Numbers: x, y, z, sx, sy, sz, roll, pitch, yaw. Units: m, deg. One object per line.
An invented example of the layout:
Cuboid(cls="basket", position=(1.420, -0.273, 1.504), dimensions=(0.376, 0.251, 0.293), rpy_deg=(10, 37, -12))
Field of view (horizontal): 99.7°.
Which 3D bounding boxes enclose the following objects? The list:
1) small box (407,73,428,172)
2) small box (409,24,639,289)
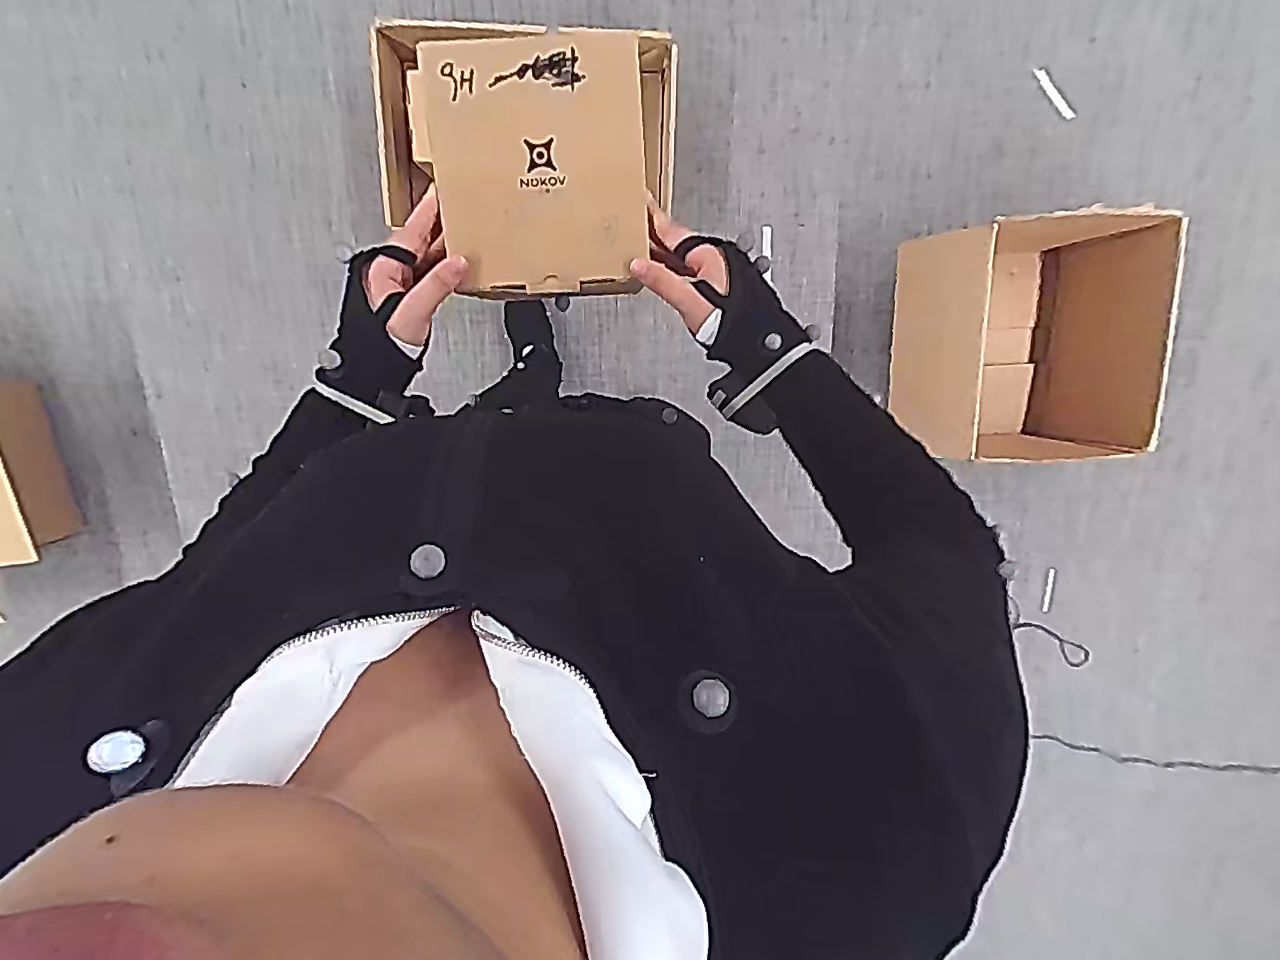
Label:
Cuboid(cls="small box", position=(-0.385, -0.751, 1.178), dimensions=(0.179, 0.176, 0.168), rpy_deg=(0, 105, -4))
Cuboid(cls="small box", position=(-0.087, -0.271, 0.497), dimensions=(0.168, 0.176, 0.179), rpy_deg=(-4, 107, -2))
